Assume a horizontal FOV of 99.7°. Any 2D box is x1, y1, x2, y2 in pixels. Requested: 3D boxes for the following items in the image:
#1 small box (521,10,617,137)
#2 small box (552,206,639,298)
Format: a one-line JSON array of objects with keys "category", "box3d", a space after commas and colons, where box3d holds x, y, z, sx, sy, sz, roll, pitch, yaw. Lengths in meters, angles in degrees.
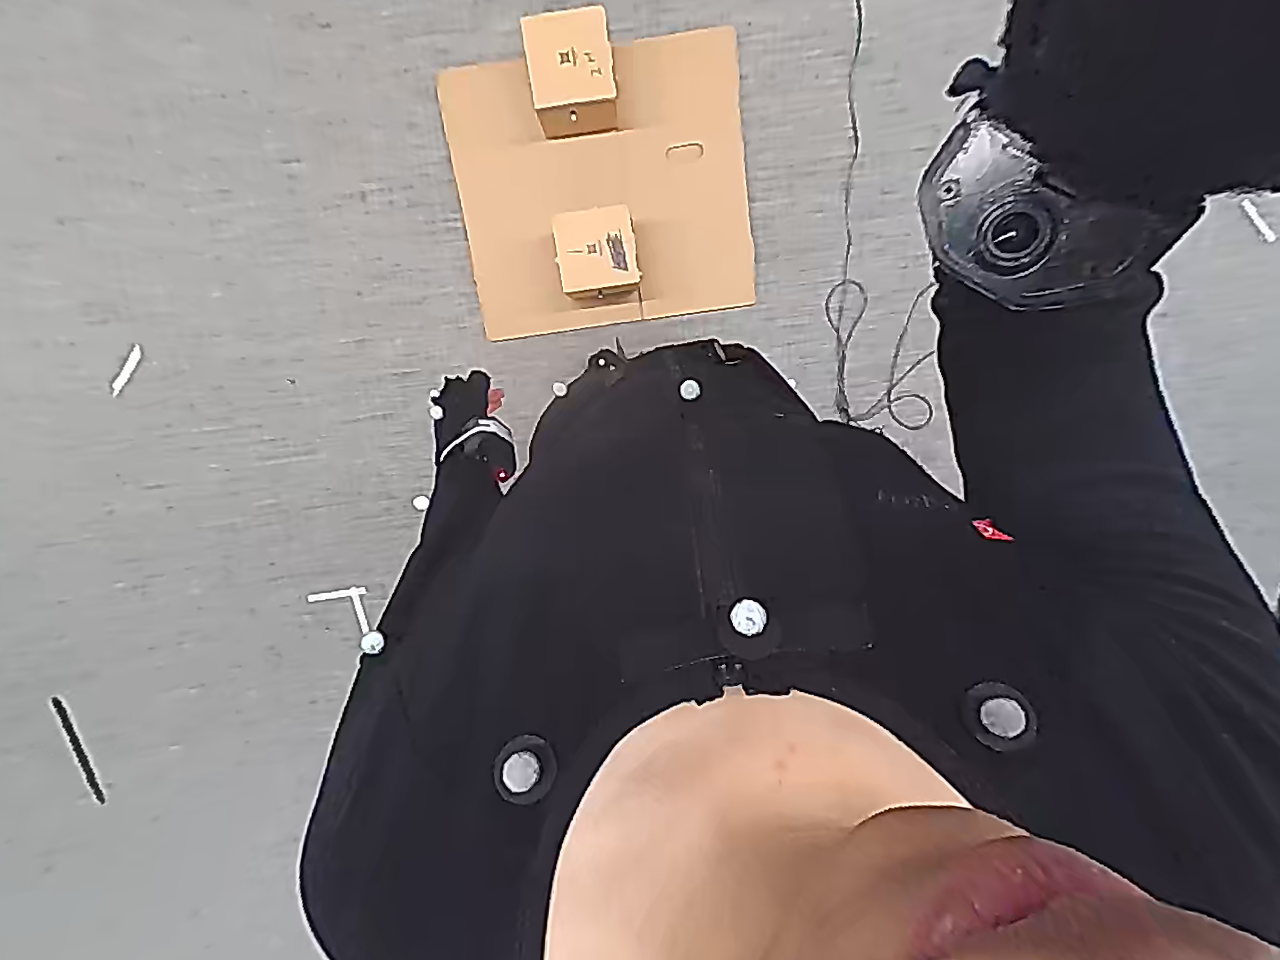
[{"category": "small box", "box3d": [-0.148, -0.879, 1.186, 0.179, 0.176, 0.168, -8, 105, 0]}, {"category": "small box", "box3d": [-0.101, -0.531, 1.276, 0.179, 0.176, 0.168, -8, 104, 1]}]
